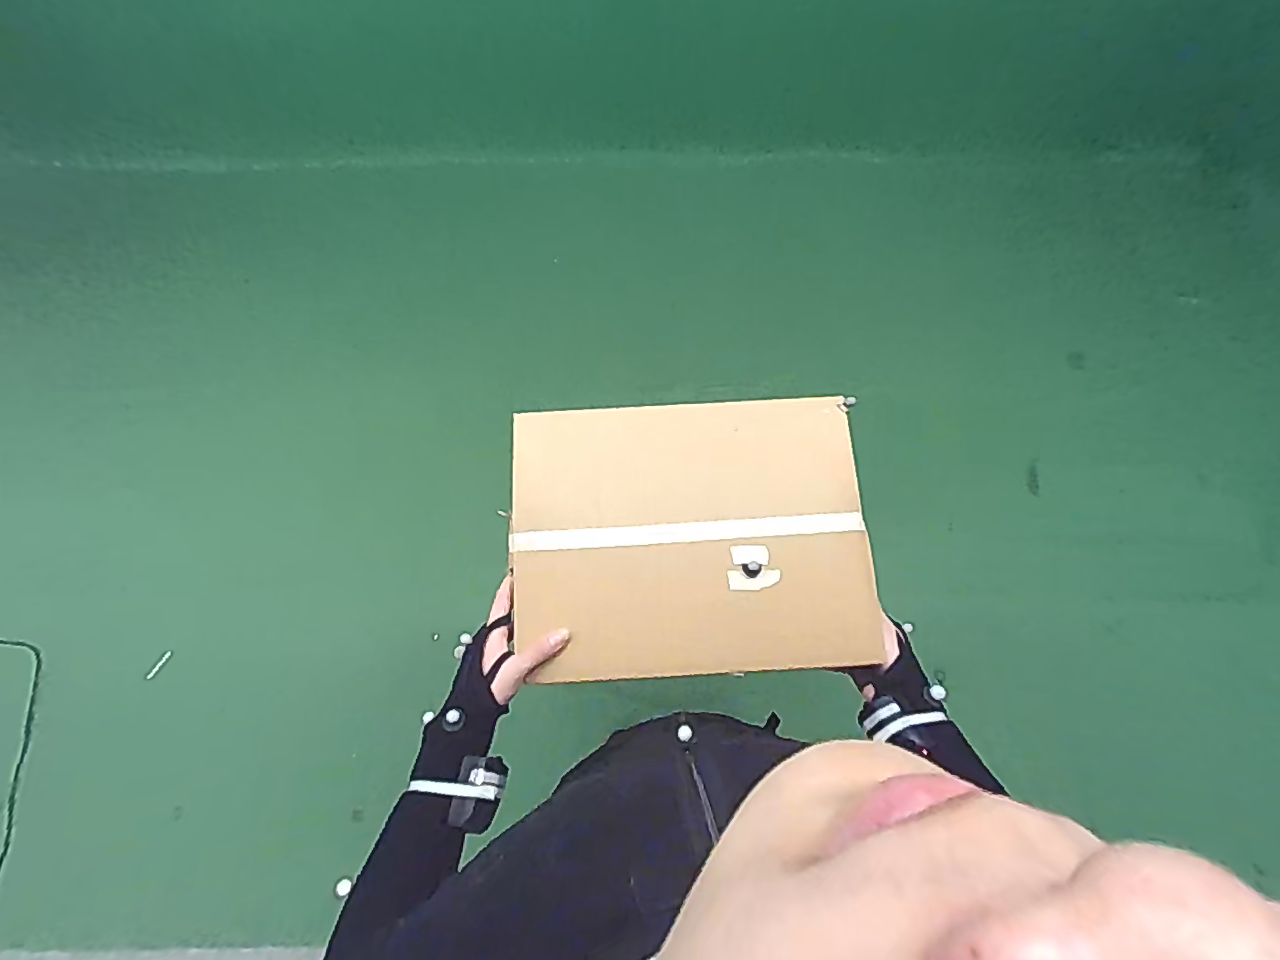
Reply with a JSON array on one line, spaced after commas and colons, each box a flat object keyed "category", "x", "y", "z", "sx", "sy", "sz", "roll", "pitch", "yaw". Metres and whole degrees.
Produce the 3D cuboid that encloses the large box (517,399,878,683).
[{"category": "large box", "x": 0.055, "y": 0.097, "z": 0.772, "sx": 0.408, "sy": 0.320, "sz": 0.320, "roll": -3, "pitch": 76, "yaw": -1}]
